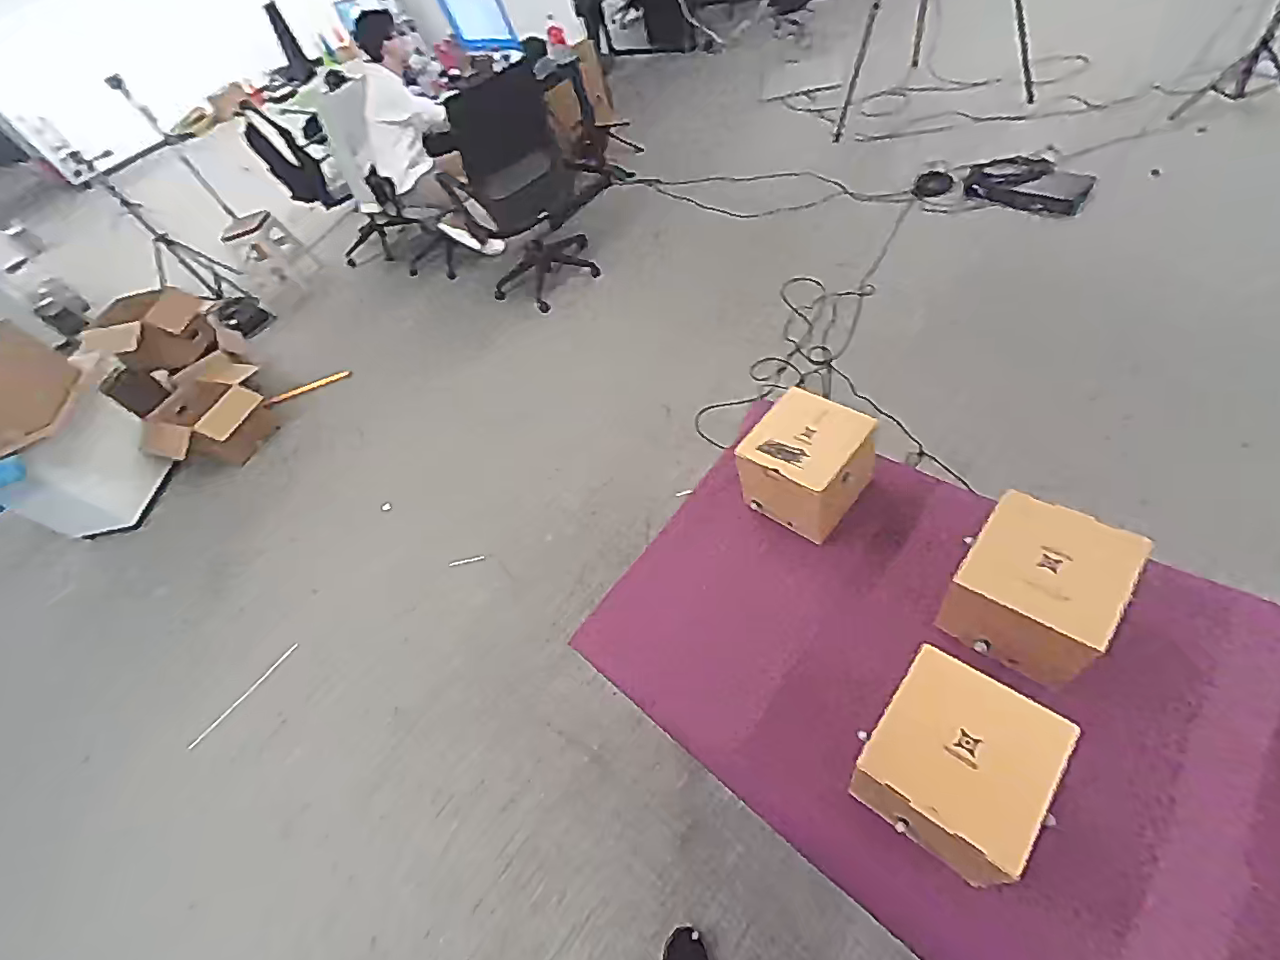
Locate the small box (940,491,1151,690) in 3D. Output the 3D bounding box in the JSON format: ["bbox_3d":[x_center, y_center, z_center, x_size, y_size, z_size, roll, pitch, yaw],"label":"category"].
[{"bbox_3d":[0.541,0.153,0.747,0.168,0.176,0.179,29,68,35],"label":"small box"}]

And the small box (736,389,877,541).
[{"bbox_3d":[0.297,-0.023,0.959,0.168,0.176,0.179,32,69,34],"label":"small box"}]

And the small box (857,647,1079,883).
[{"bbox_3d":[0.378,0.343,0.654,0.168,0.176,0.179,28,66,33],"label":"small box"}]
